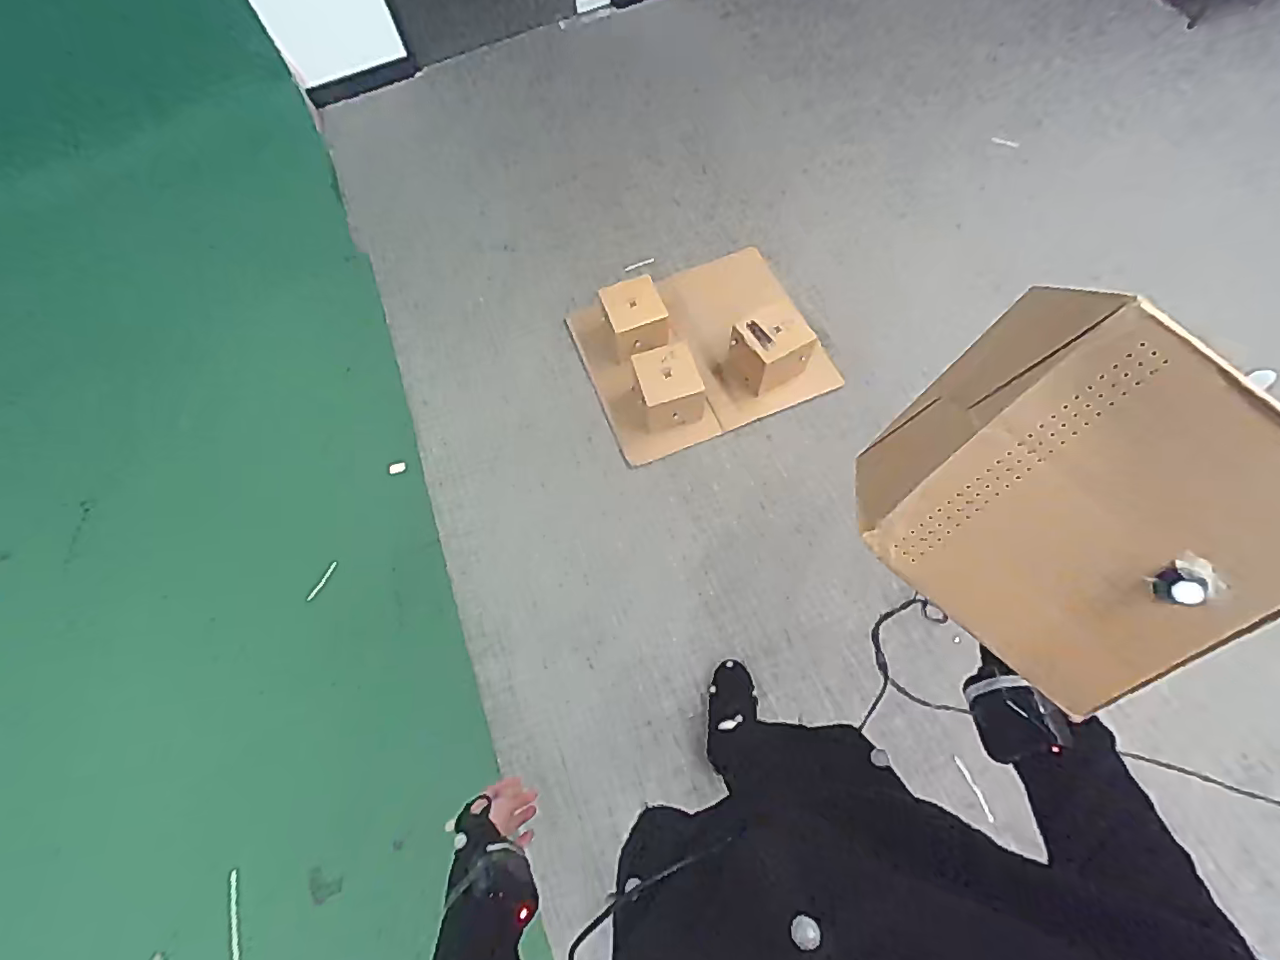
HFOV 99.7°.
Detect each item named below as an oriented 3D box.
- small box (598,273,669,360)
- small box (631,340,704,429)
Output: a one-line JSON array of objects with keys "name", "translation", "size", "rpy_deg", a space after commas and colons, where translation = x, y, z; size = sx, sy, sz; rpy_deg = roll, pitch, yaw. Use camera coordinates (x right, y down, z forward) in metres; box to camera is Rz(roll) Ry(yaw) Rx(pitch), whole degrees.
[{"name": "small box", "translation": [-0.015, -0.490, 1.658], "size": [0.168, 0.176, 0.179], "rpy_deg": [-20, 67, -5]}, {"name": "small box", "translation": [0.080, -0.265, 1.555], "size": [0.168, 0.176, 0.179], "rpy_deg": [-16, 67, -3]}]
